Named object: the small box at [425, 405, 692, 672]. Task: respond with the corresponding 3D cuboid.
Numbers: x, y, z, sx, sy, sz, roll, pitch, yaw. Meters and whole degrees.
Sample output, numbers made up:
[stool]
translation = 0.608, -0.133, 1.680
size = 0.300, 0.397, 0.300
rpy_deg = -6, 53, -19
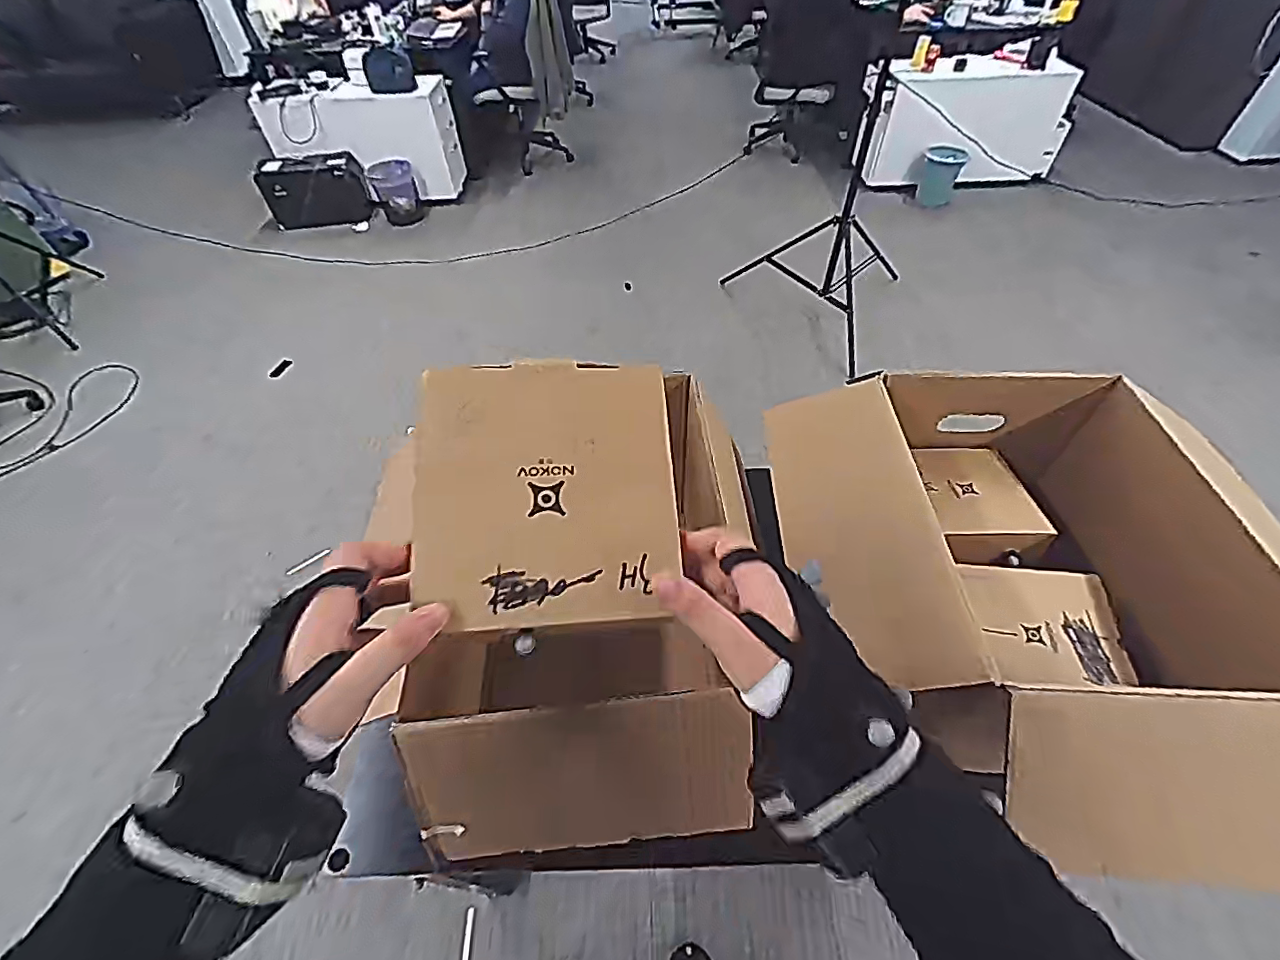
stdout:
[small box]
translation = -0.062, 0.056, 0.433
size = 0.168, 0.176, 0.179
rpy_deg = -3, 72, -7
